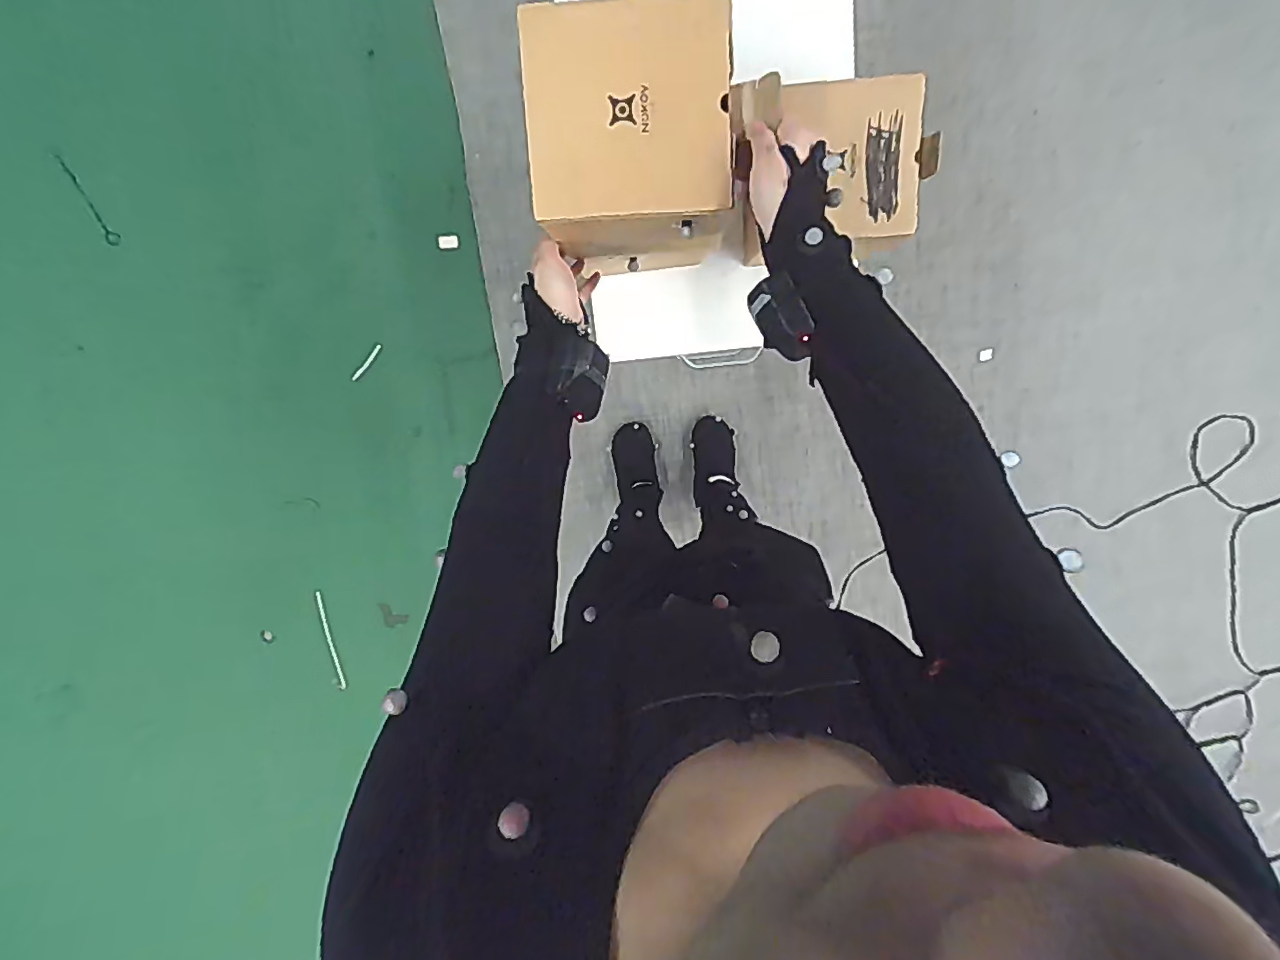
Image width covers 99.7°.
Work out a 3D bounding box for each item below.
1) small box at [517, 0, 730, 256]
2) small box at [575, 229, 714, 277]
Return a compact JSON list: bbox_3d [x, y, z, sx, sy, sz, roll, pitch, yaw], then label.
[{"bbox_3d":[-0.010,-0.326,0.532,0.179,0.176,0.168,-2,101,1],"label":"small box"},{"bbox_3d":[-0.008,-0.367,0.696,0.179,0.176,0.168,-7,102,0],"label":"small box"}]
